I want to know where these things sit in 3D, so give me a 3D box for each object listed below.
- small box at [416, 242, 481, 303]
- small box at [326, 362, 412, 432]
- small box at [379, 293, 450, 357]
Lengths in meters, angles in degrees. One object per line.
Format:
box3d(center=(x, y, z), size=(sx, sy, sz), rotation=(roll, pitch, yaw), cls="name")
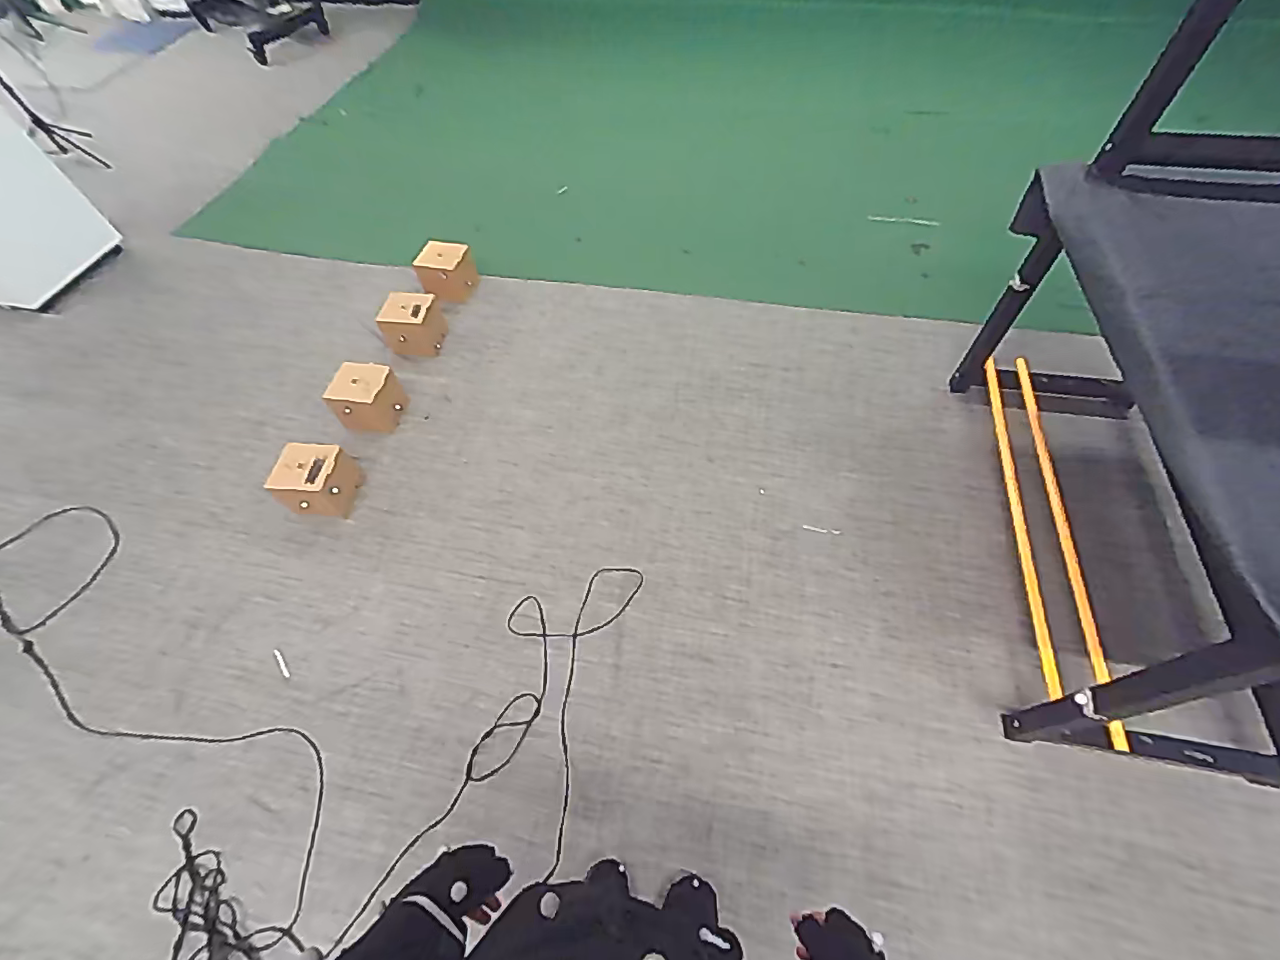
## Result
box3d(center=(-0.786, -0.854, 2.237), size=(0.179, 0.176, 0.168), rotation=(10, 58, 8), cls="small box")
box3d(center=(-0.925, -0.281, 1.861), size=(0.179, 0.176, 0.168), rotation=(8, 59, 6), cls="small box")
box3d(center=(-0.851, -0.589, 2.063), size=(0.179, 0.176, 0.168), rotation=(5, 57, 6), cls="small box")
